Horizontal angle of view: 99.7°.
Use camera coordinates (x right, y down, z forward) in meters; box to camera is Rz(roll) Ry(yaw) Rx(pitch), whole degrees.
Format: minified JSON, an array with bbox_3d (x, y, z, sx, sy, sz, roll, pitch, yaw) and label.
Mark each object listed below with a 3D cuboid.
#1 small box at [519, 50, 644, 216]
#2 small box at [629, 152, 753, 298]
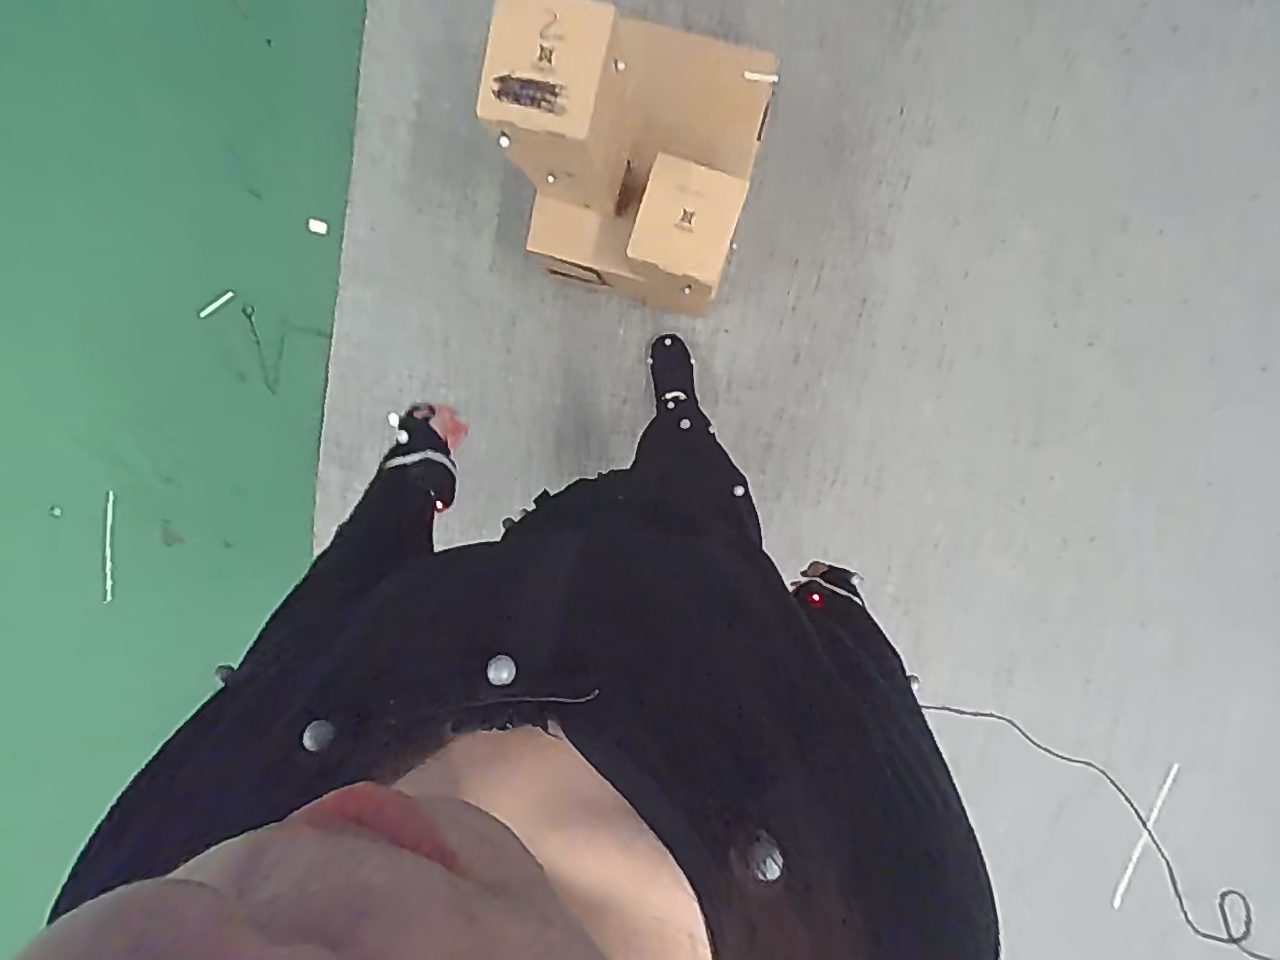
[{"bbox_3d":[-0.096,-0.615,0.981,0.168,0.176,0.179,19,99,3],"label":"small box"},{"bbox_3d":[0.091,-0.452,0.990,0.168,0.176,0.179,19,100,0],"label":"small box"}]
